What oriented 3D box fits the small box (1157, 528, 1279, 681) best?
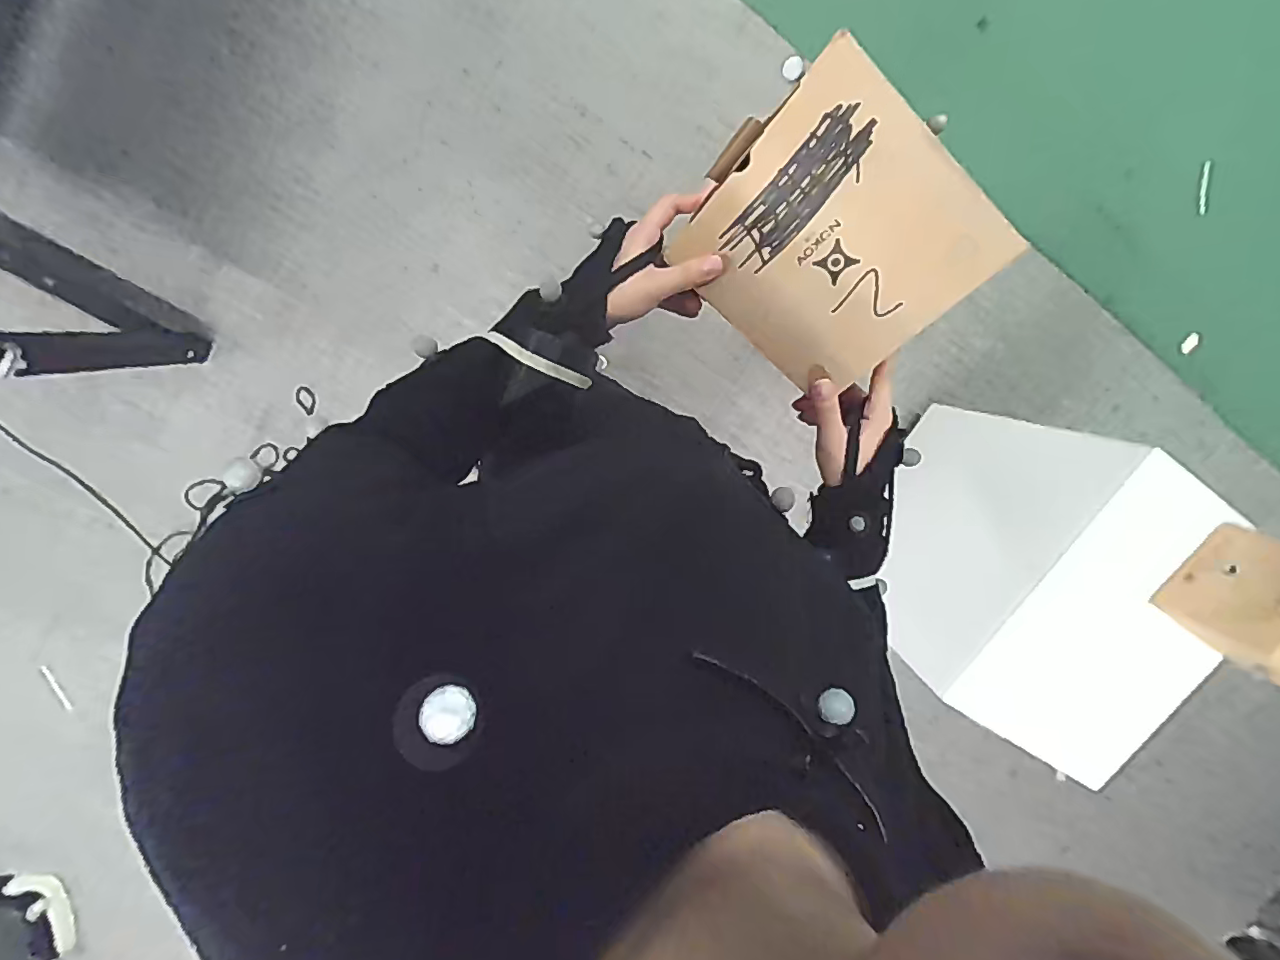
[{"bbox_3d":[0.954,0.196,0.804,0.179,0.176,0.168,32,101,-11],"label":"small box"}]
